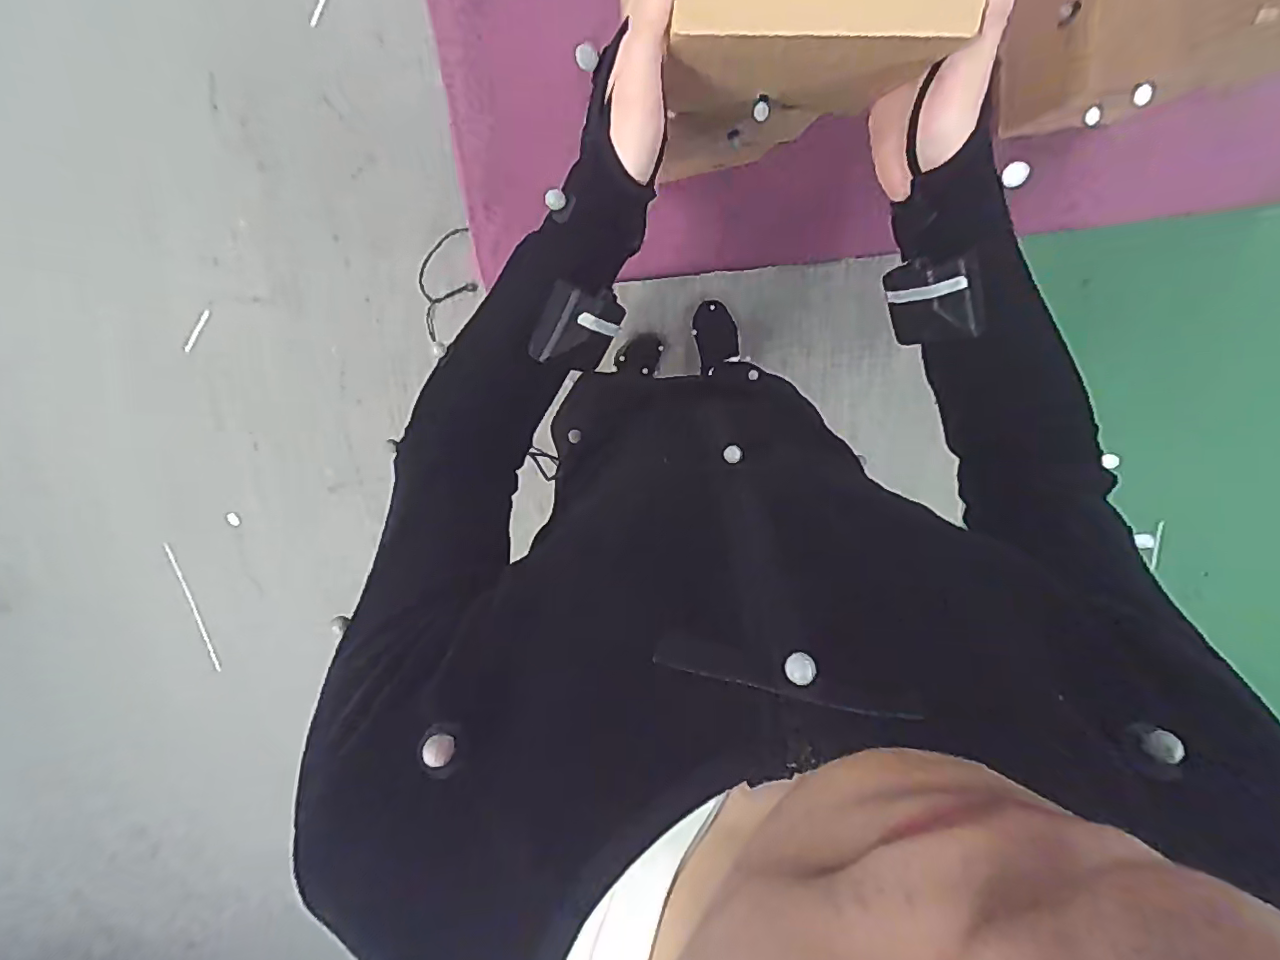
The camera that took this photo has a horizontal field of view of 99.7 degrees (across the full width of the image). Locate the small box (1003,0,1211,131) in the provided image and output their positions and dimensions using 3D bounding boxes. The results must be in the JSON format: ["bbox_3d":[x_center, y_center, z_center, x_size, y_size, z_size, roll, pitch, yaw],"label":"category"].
[{"bbox_3d":[0.569,-0.541,0.644,0.168,0.176,0.179,-8,107,1],"label":"small box"}]

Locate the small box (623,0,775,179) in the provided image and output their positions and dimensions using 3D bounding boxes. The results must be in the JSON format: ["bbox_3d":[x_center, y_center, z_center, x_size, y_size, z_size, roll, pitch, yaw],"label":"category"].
[{"bbox_3d":[0.074,-0.489,0.646,0.168,0.176,0.179,-11,108,2],"label":"small box"}]

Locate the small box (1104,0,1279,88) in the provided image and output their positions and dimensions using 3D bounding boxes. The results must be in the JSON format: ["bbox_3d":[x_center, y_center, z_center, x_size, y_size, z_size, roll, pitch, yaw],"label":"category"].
[{"bbox_3d":[0.575,-0.485,0.489,0.168,0.176,0.179,-6,106,0],"label":"small box"}]

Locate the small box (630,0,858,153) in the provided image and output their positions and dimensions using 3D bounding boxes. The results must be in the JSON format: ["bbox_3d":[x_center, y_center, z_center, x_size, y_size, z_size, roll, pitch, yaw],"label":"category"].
[{"bbox_3d":[0.083,-0.421,0.494,0.168,0.176,0.179,-10,108,1],"label":"small box"}]
